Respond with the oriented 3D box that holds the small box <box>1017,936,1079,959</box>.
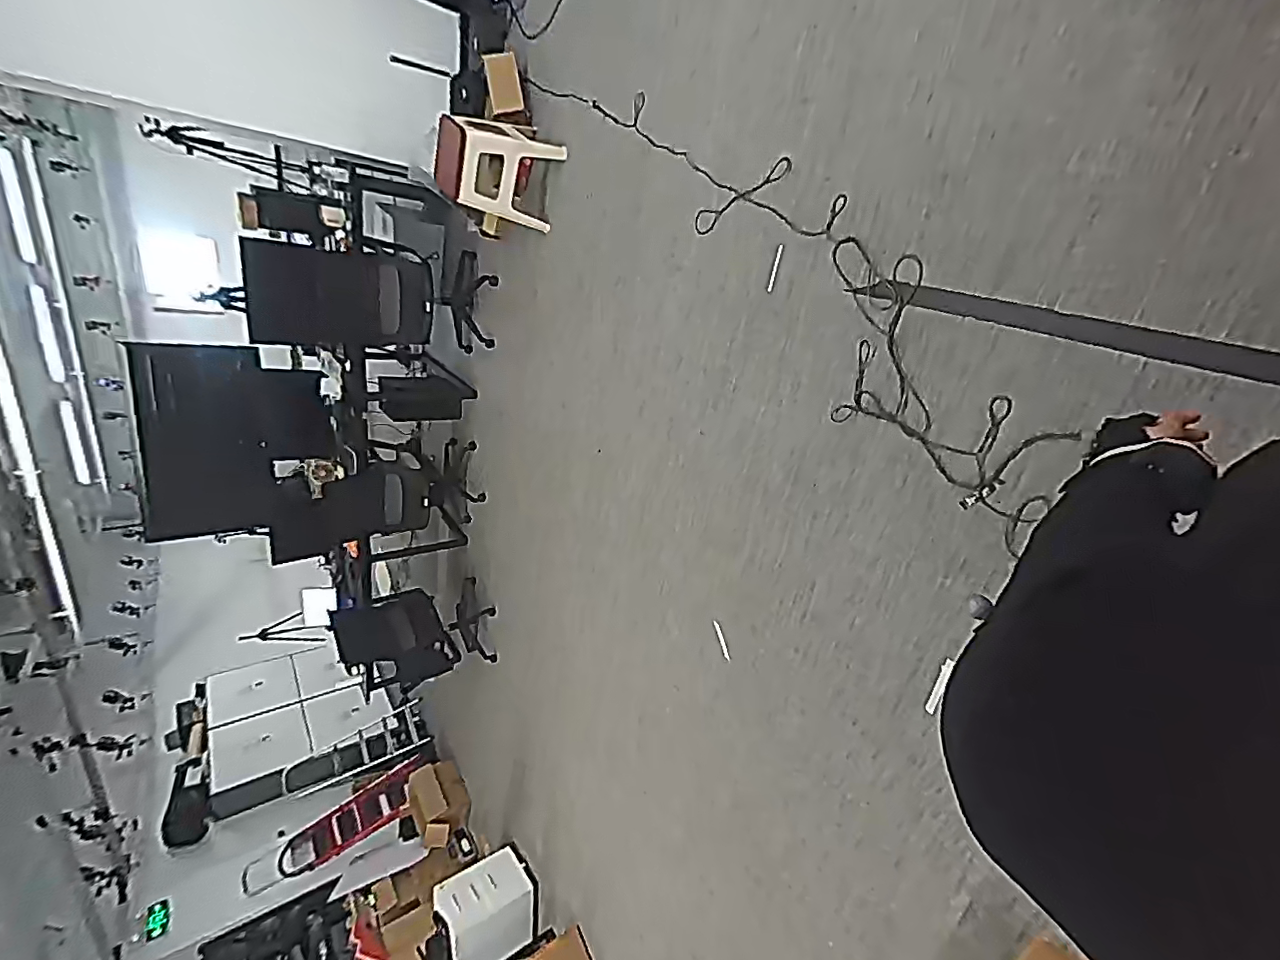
[{"bbox_3d":[0.951,1.199,1.233,0.179,0.176,0.168,33,122,44],"label":"small box"}]
